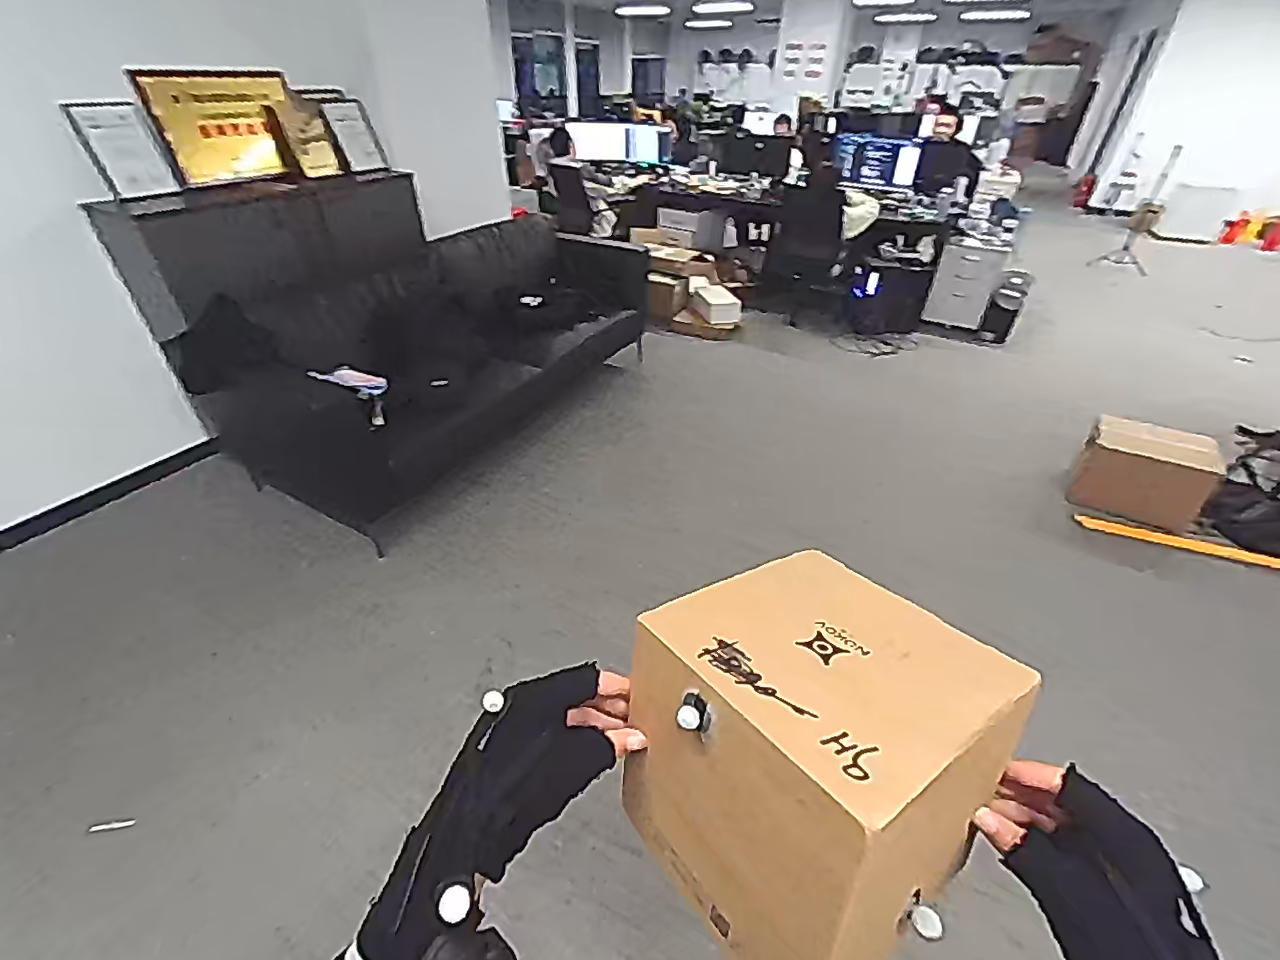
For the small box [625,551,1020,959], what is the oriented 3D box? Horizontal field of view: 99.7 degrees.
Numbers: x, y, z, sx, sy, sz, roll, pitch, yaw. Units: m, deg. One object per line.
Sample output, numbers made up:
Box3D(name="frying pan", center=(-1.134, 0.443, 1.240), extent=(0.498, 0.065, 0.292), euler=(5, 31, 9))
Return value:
Box3D(name="small box", center=(0.105, 0.173, 0.360), extent=(0.179, 0.176, 0.168), euler=(-11, 26, -35))
